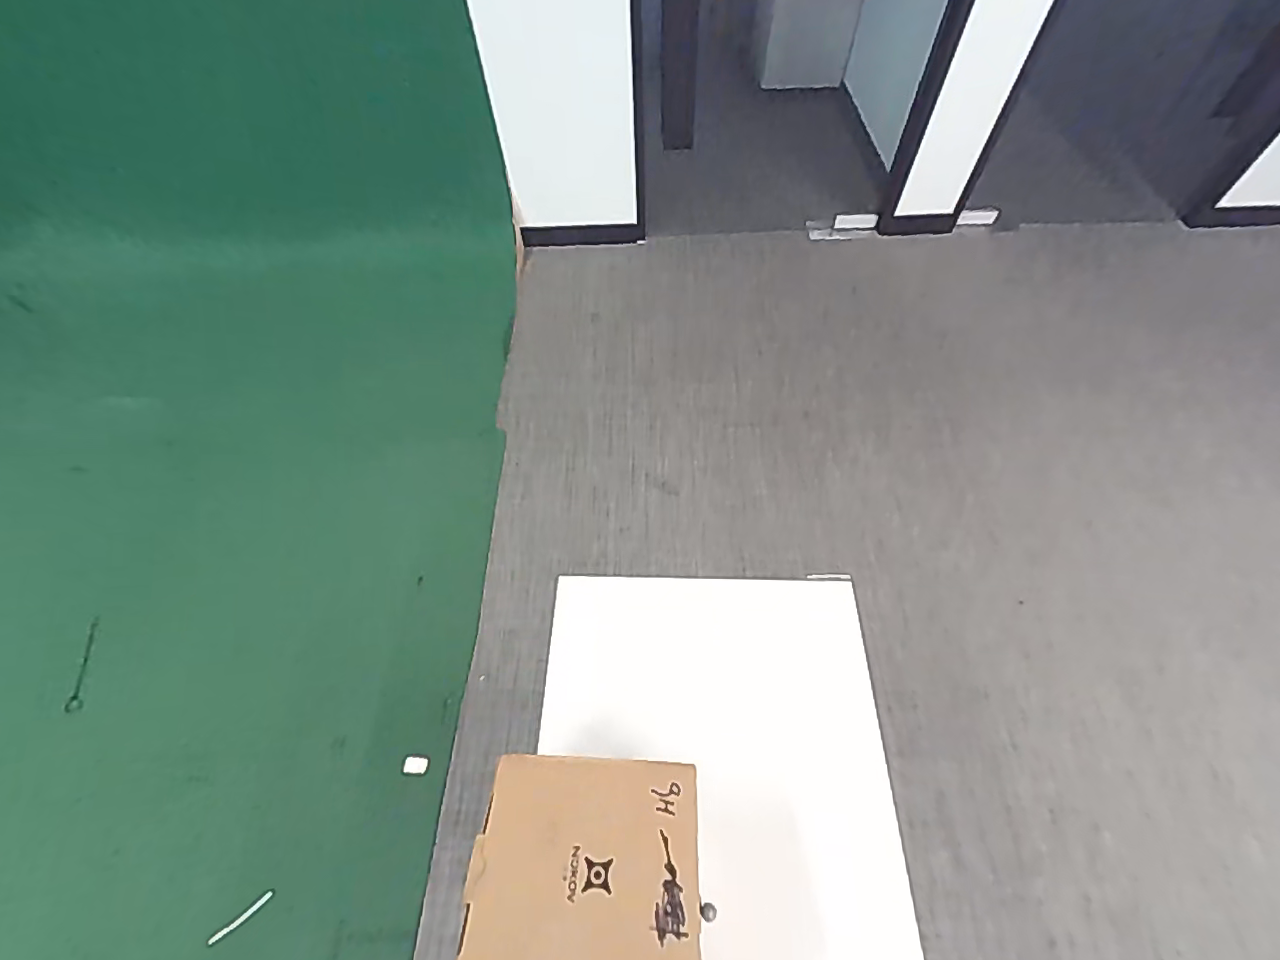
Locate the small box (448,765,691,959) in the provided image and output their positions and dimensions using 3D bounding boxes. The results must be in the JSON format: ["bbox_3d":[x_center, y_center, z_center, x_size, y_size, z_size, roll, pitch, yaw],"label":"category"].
[{"bbox_3d":[-0.048,0.367,0.473,0.179,0.176,0.168,3,48,2],"label":"small box"}]
